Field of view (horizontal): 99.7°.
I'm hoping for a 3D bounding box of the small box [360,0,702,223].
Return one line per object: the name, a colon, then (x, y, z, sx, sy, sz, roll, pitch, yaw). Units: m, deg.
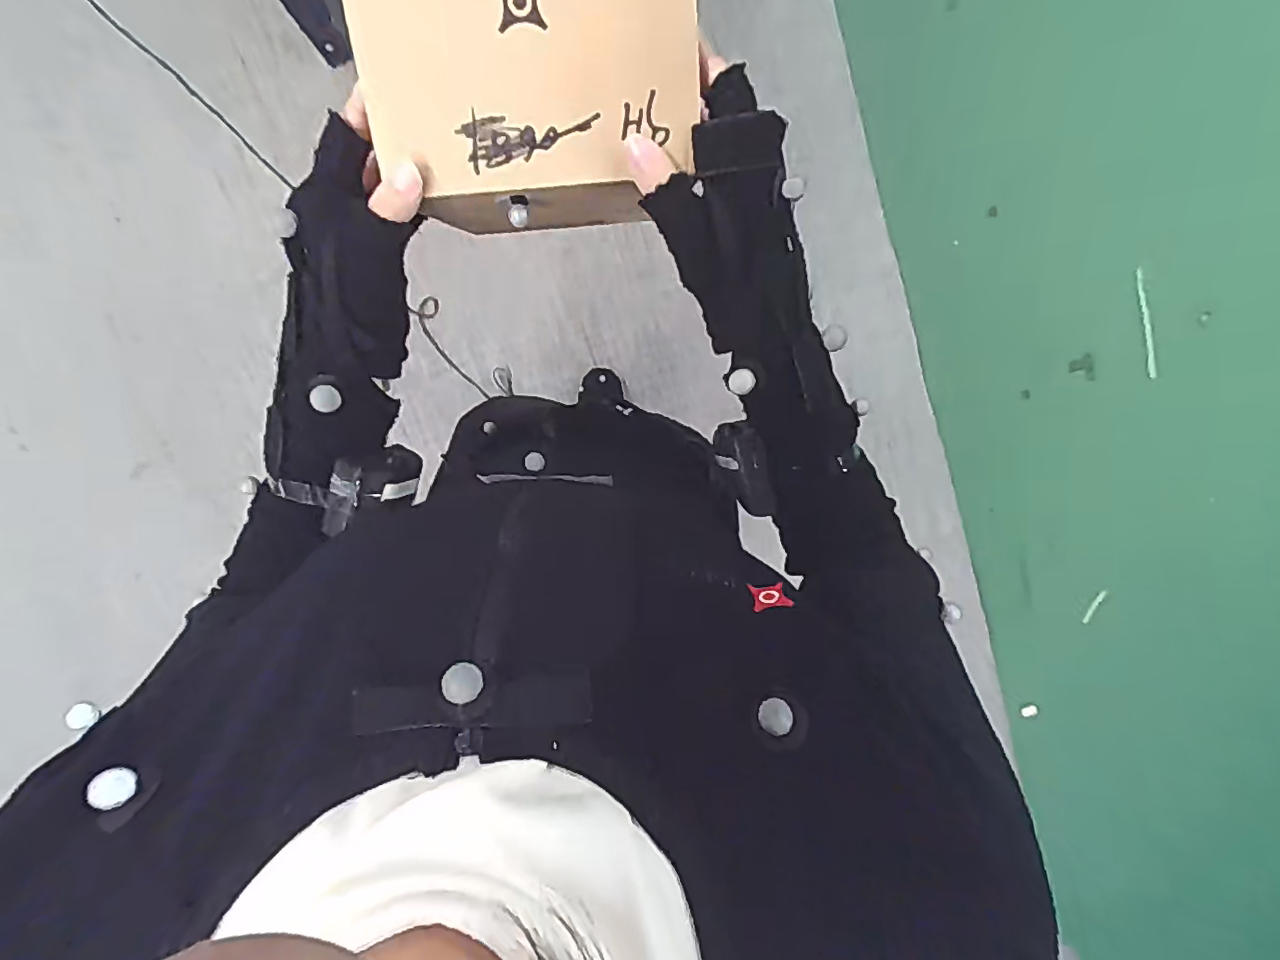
small box: (-0.056, -0.268, 0.332, 0.168, 0.176, 0.179, -4, 110, 0)
